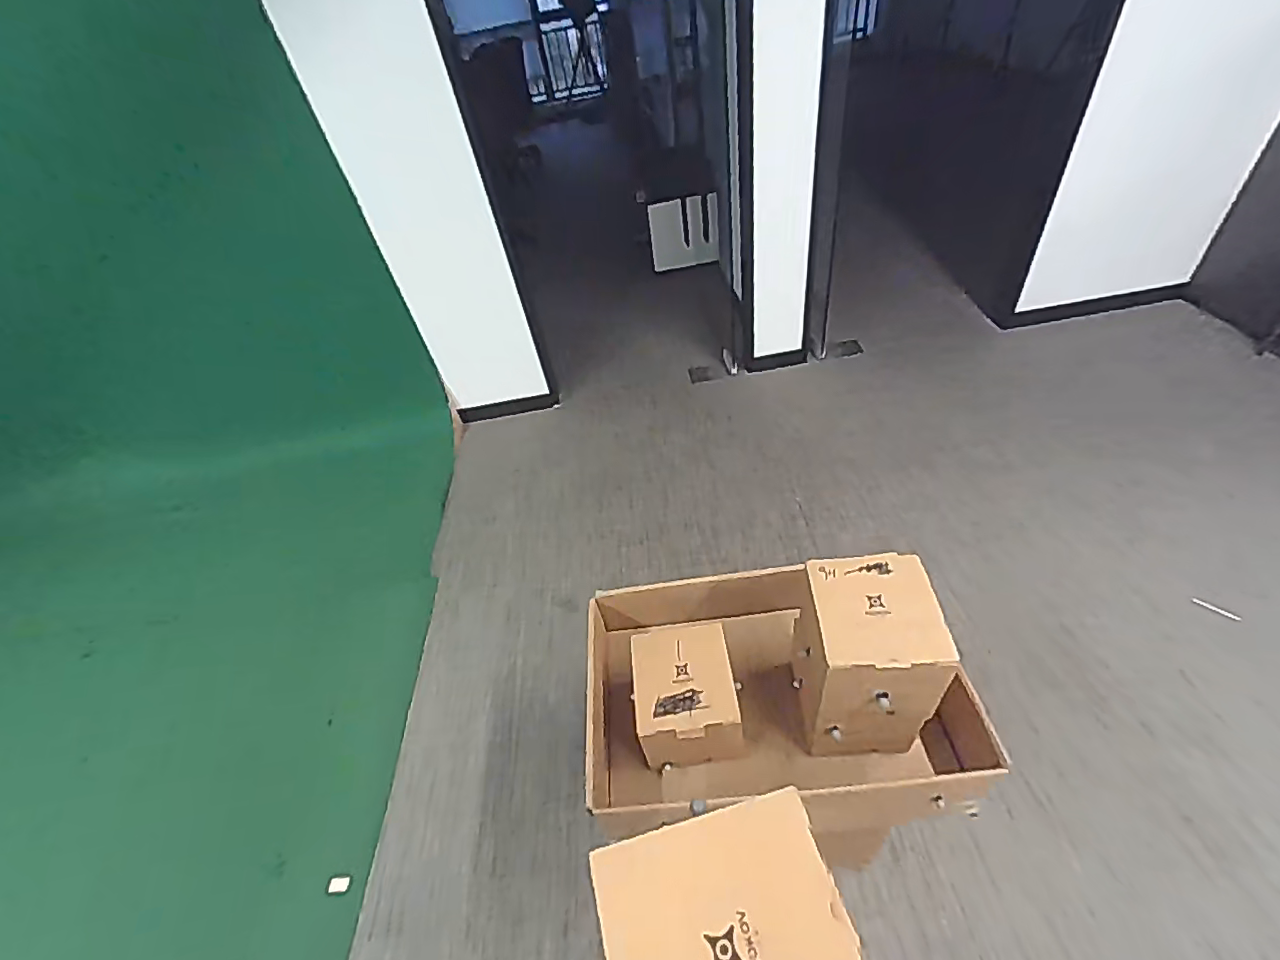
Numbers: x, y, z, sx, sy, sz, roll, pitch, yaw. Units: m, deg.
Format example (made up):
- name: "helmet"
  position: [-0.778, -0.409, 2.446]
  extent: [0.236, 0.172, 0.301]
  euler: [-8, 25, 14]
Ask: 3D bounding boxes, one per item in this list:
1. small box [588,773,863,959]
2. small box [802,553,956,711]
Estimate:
- name: "small box"
  position: [0.068, 0.373, 0.449]
  extent: [0.179, 0.176, 0.168]
  euler: [-15, 51, -5]
- name: "small box"
  position: [0.340, 0.232, 0.808]
  extent: [0.168, 0.176, 0.179]
  euler: [-4, 45, 8]
